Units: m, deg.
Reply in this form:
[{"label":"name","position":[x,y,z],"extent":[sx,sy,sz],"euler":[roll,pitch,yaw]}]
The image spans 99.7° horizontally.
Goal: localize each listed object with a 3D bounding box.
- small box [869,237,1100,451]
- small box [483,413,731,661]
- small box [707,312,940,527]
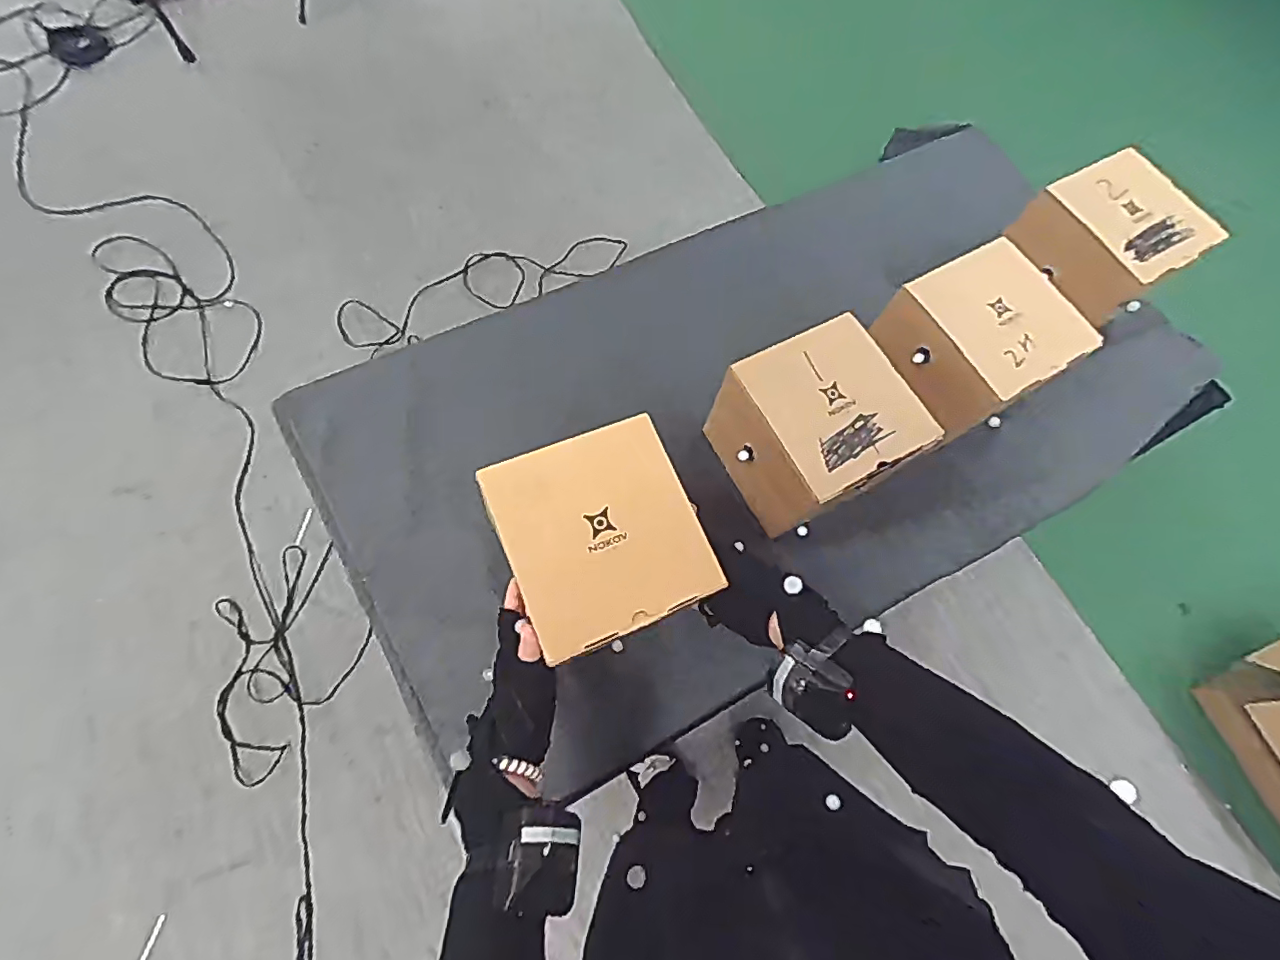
[{"label":"small box","position":[0.411,-0.167,0.699],"extent":[0.168,0.176,0.179],"euler":[-28,75,-12]},{"label":"small box","position":[-0.042,0.064,0.532],"extent":[0.168,0.176,0.179],"euler":[-21,78,-16]},{"label":"small box","position":[0.201,-0.058,0.646],"extent":[0.168,0.176,0.179],"euler":[-26,74,-13]}]
